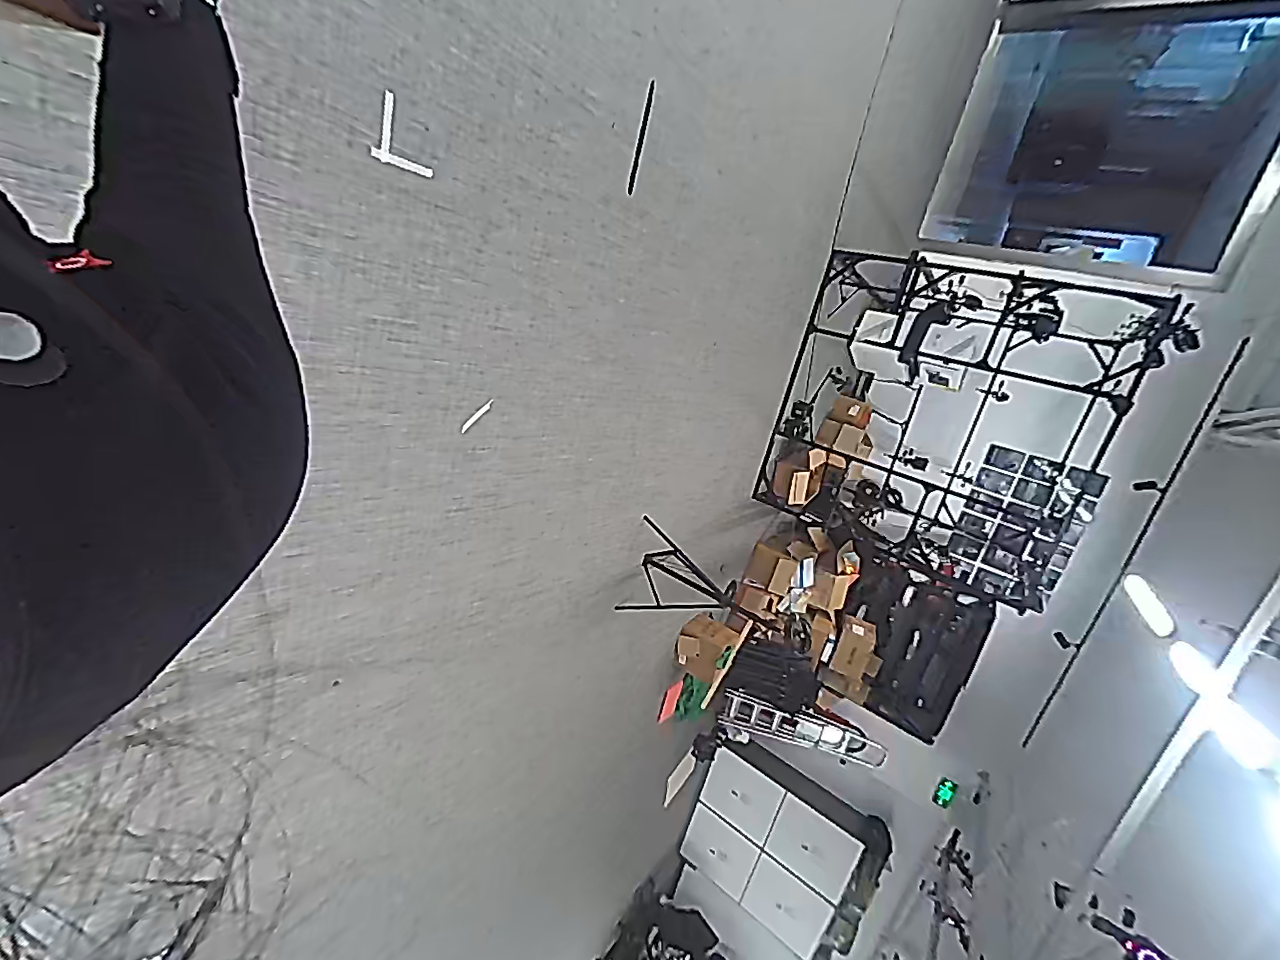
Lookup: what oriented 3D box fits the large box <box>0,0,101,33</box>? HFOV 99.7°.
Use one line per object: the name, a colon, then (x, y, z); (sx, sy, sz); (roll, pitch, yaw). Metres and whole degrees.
large box: (-0.572, -0.500, 0.251); (0.408, 0.320, 0.320); (-9, 125, -55)
